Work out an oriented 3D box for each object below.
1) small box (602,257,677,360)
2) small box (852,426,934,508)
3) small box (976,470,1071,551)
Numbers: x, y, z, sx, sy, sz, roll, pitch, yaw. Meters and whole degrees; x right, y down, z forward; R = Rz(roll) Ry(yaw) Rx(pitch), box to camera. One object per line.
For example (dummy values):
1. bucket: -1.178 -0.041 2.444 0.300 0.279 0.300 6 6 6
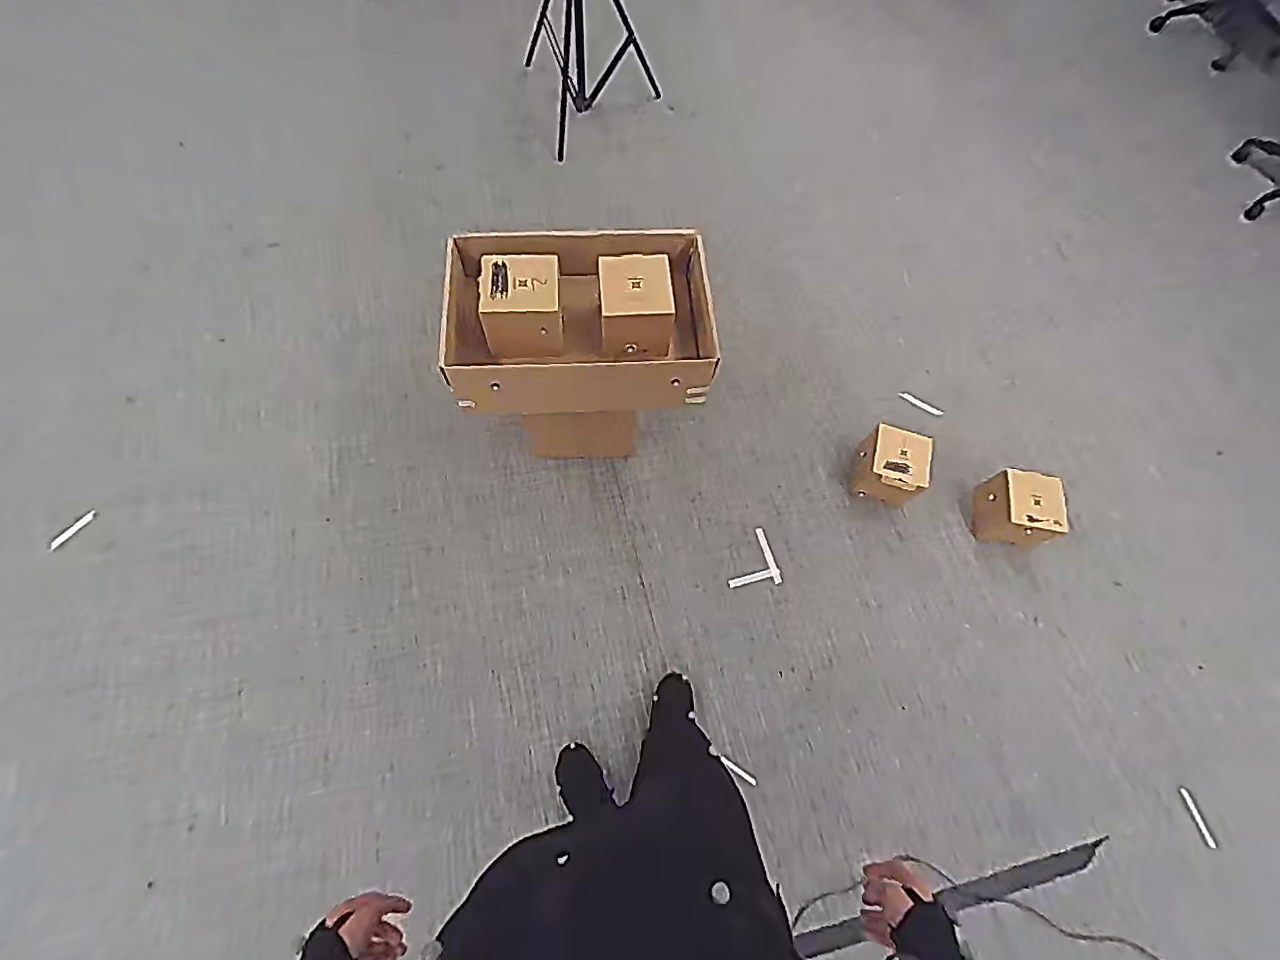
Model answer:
1. small box: -0.007 -0.413 1.315 0.168 0.176 0.179 -4 66 -4
2. small box: 0.770 -0.034 1.659 0.168 0.176 0.179 18 67 4
3. small box: 1.143 0.096 1.627 0.168 0.176 0.179 11 66 2
